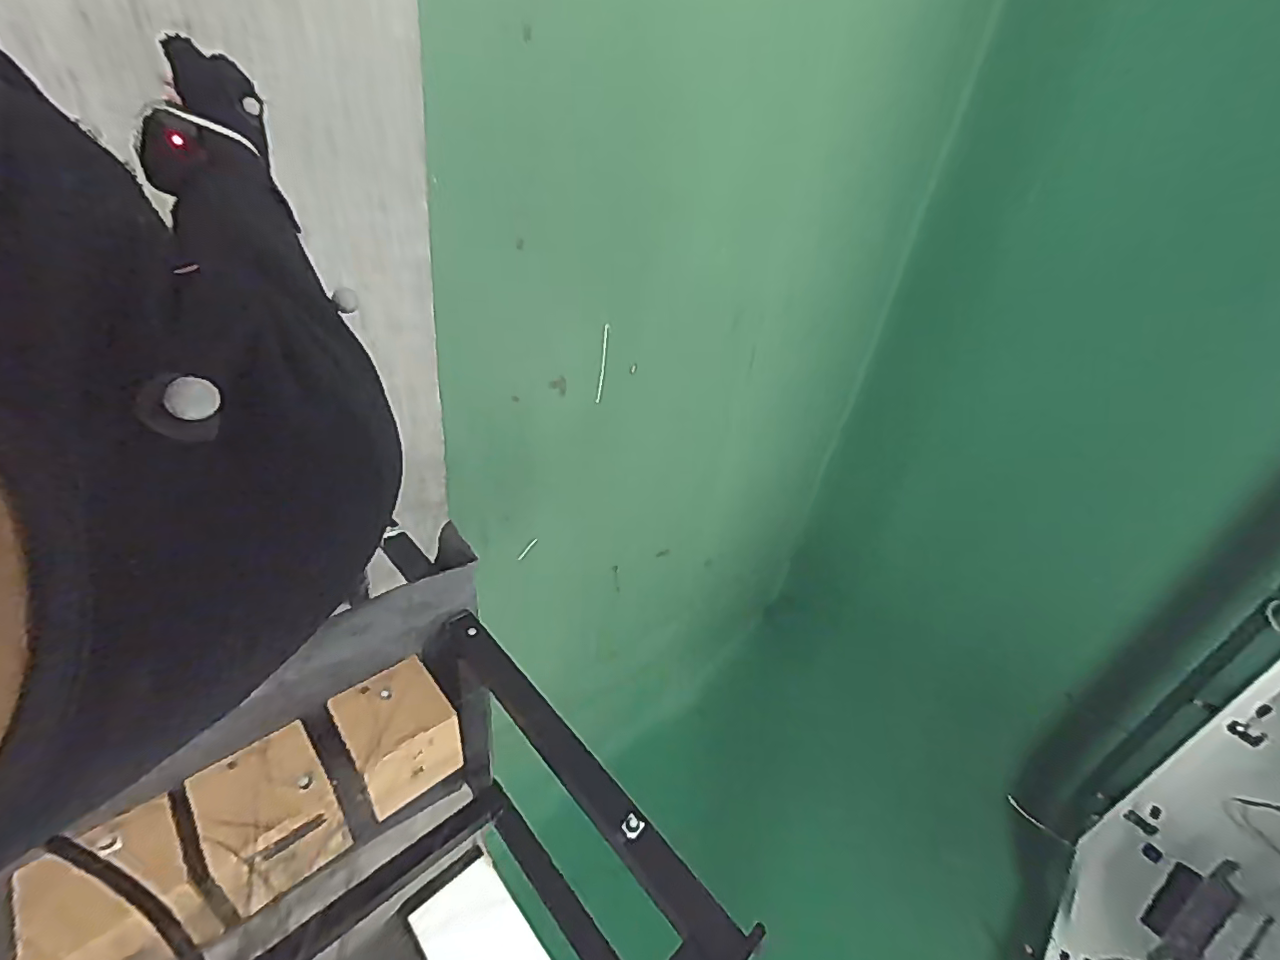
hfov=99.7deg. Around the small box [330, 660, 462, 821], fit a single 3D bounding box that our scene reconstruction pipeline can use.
[{"bbox_3d":[-0.454,0.479,1.015,0.168,0.176,0.179,-24,134,-39],"label":"small box"}]
